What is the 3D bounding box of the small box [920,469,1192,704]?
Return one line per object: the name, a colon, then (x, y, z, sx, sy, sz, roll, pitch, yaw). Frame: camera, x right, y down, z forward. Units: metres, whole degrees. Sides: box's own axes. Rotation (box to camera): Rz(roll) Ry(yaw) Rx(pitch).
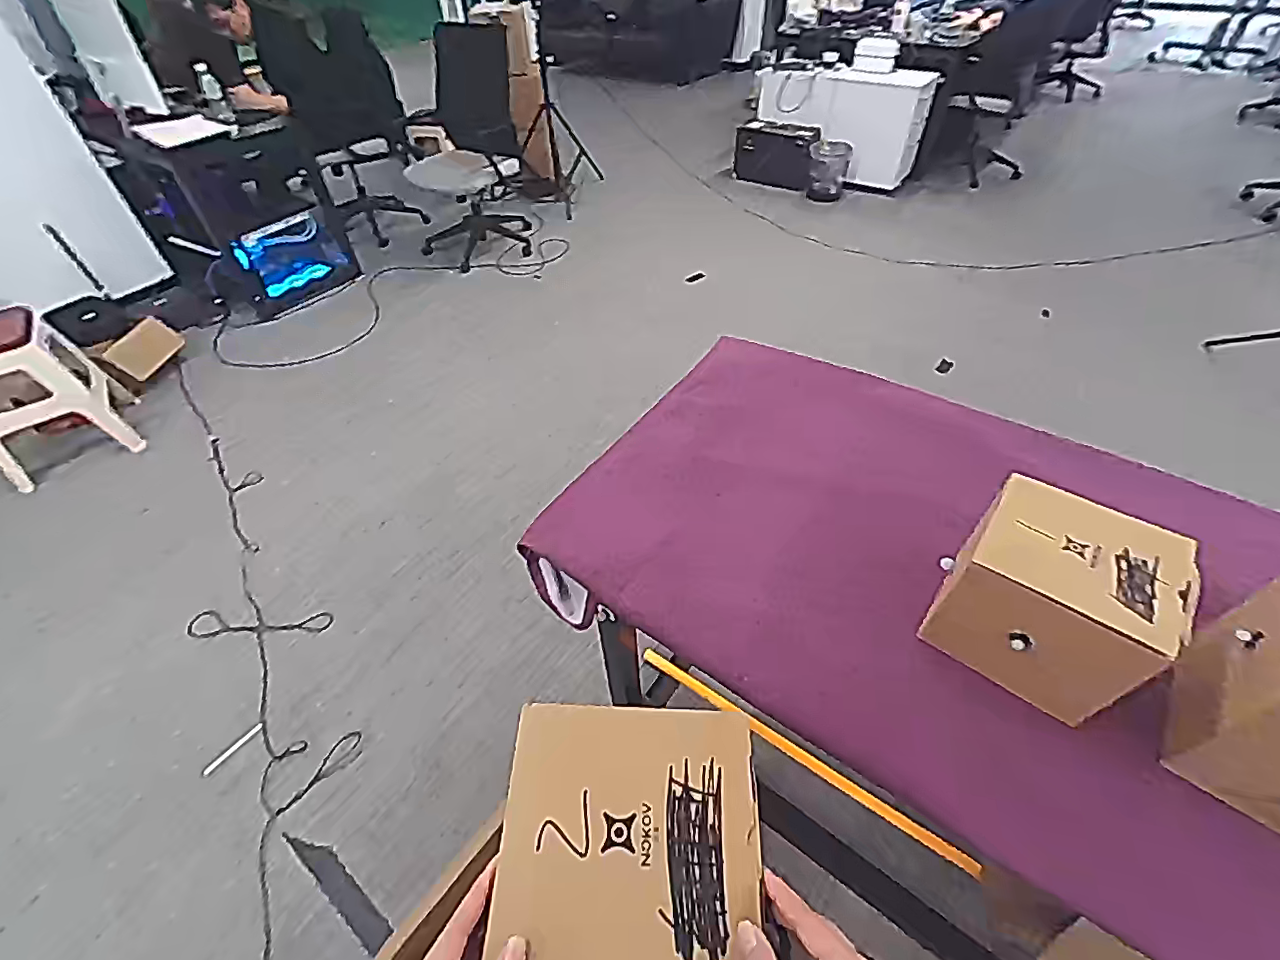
small box: (0.457, 0.125, 0.615, 0.179, 0.176, 0.168, 29, 55, 28)
